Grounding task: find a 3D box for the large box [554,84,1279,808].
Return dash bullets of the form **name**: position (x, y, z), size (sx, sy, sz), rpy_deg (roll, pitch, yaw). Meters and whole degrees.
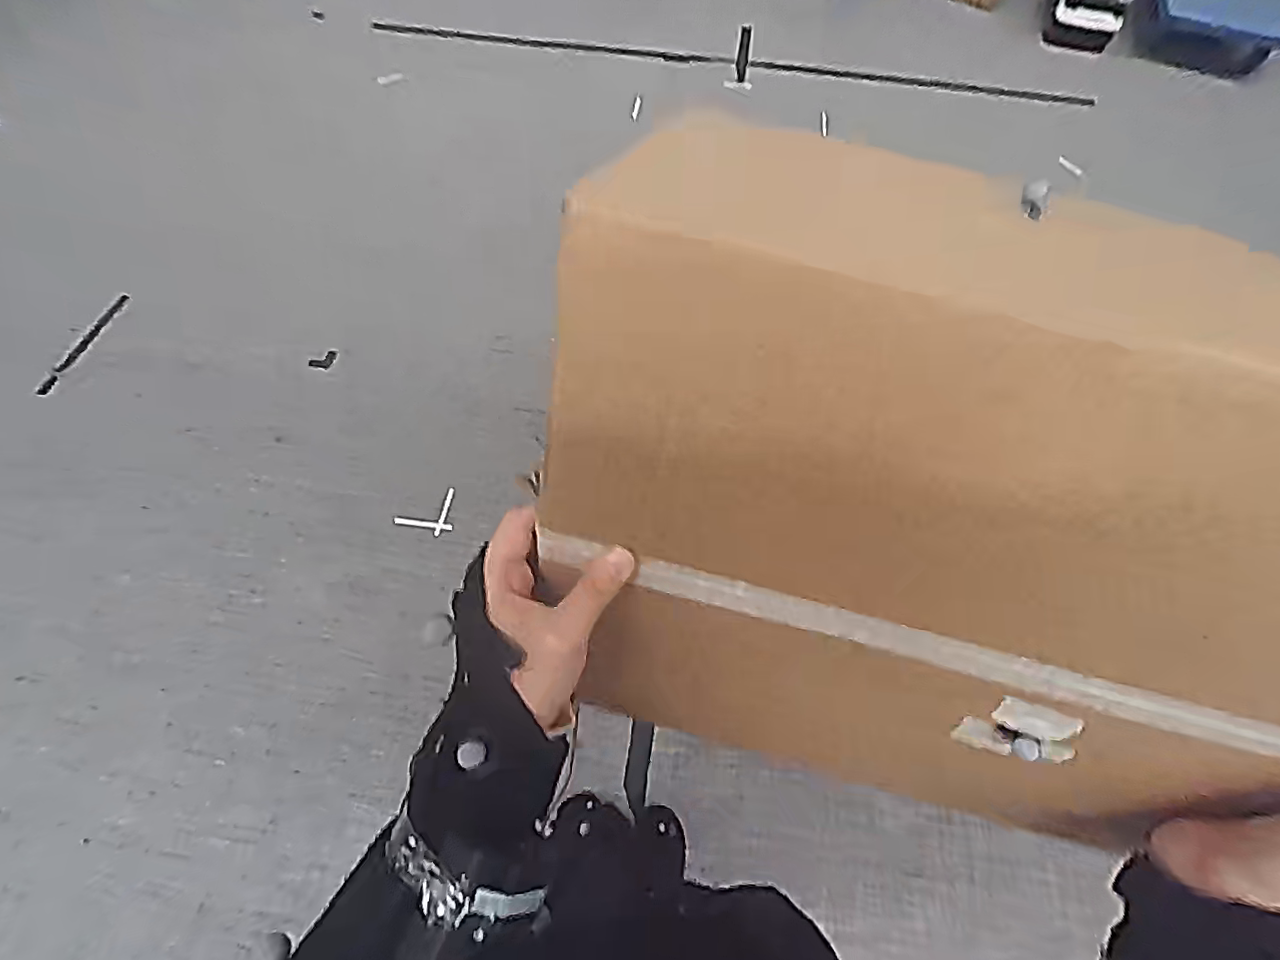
- **large box**: position (0.180, -0.041, 0.368), size (0.408, 0.320, 0.320), rpy_deg (14, 42, 2)
